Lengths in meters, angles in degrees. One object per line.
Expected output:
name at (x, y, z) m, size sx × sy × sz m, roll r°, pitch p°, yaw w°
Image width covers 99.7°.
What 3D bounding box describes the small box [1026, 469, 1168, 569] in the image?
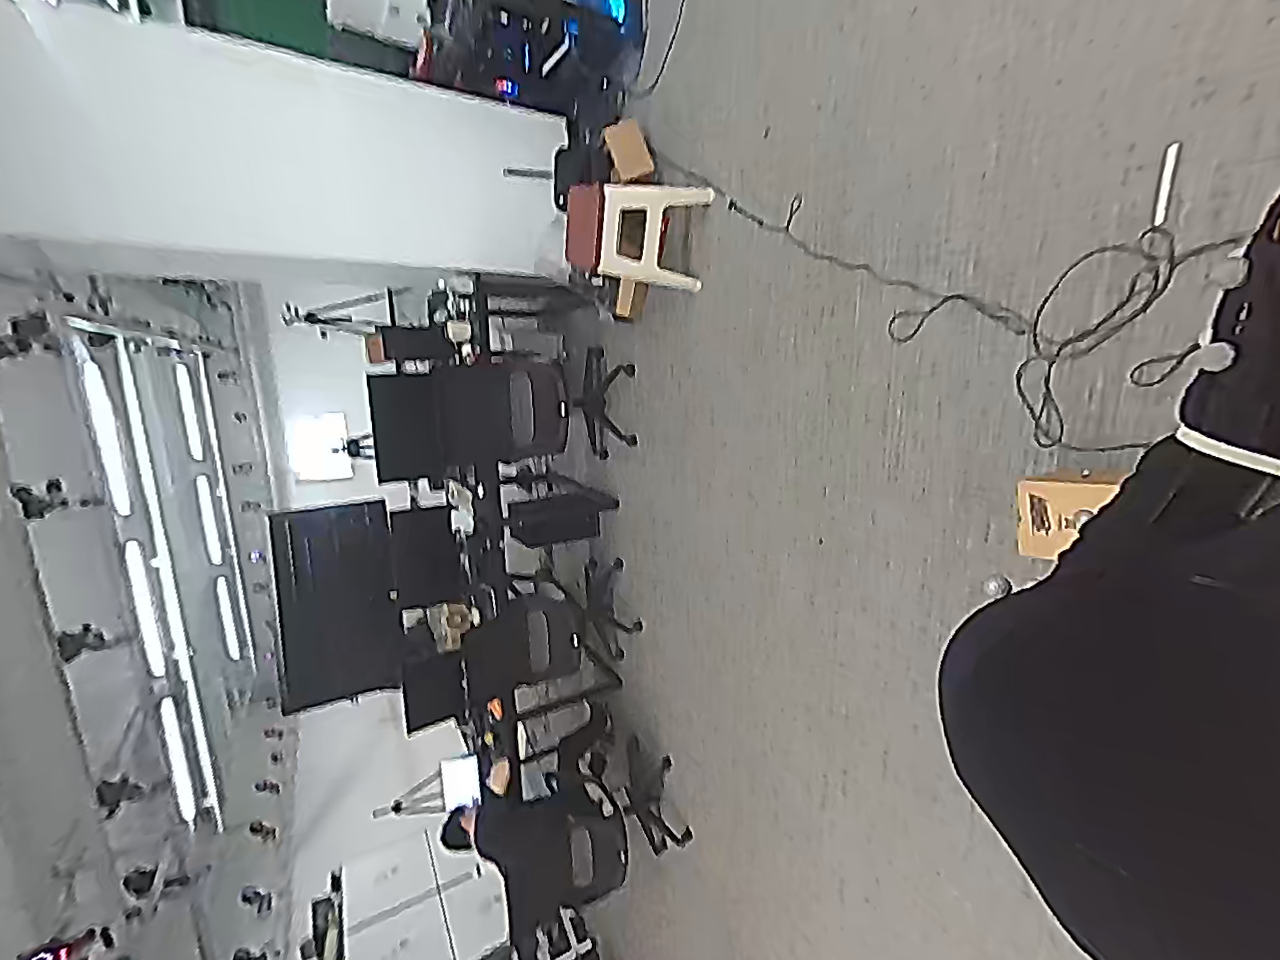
small box at (0.932, 0.071, 1.108) m, size 0.179 × 0.176 × 0.168 m, roll 6°, pitch 104°, yaw 60°
